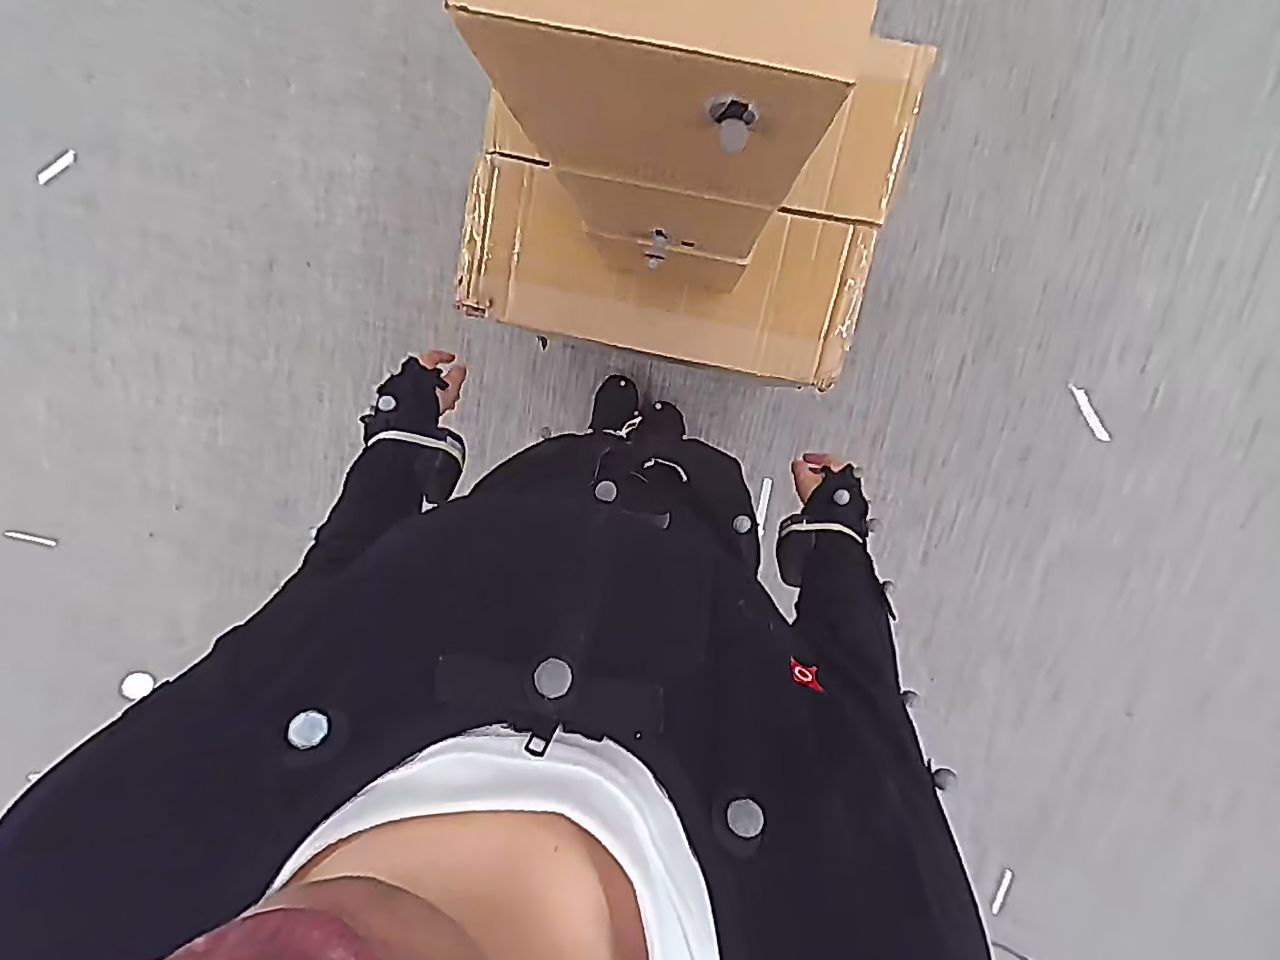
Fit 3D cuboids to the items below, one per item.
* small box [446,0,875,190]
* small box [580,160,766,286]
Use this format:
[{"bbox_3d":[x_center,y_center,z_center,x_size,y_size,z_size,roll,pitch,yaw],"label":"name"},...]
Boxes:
[{"bbox_3d":[0.024,-0.273,0.280,0.179,0.176,0.168,12,101,2],"label":"small box"},{"bbox_3d":[0.045,-0.326,0.604,0.179,0.176,0.168,12,101,1],"label":"small box"}]
